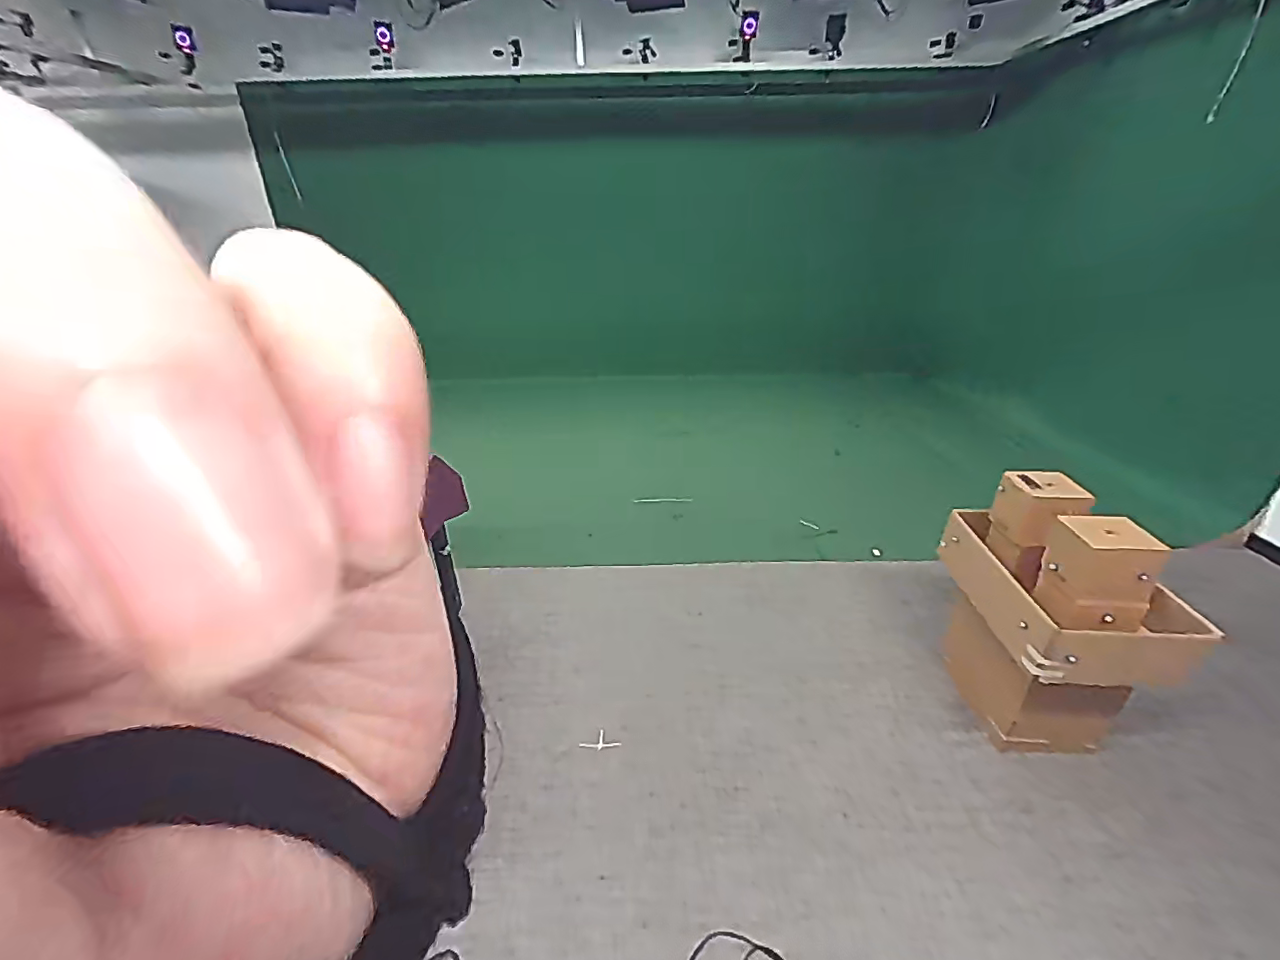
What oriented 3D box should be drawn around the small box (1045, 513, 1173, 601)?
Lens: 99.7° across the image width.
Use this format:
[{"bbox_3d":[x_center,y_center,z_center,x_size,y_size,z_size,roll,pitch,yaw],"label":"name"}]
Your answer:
[{"bbox_3d":[1.214,0.200,1.416,0.179,0.176,0.168,0,26,7],"label":"small box"}]
